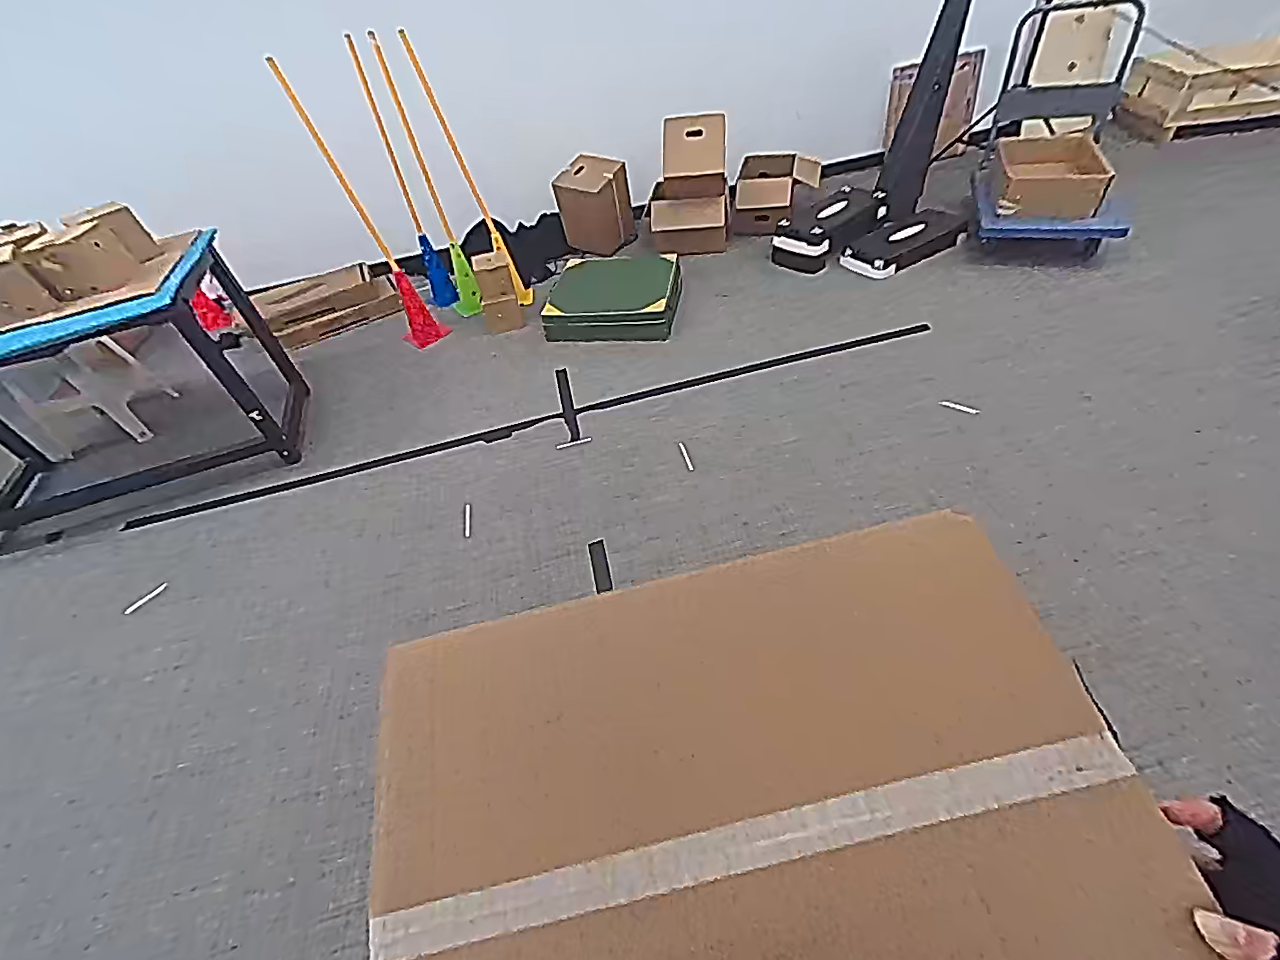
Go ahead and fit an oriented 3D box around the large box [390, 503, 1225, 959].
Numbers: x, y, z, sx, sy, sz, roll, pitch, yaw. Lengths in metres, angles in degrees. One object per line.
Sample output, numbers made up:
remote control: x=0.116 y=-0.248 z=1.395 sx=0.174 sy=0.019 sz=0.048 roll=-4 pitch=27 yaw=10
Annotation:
large box: x=0.073 y=0.267 z=0.424 sx=0.408 sy=0.320 sz=0.320 roll=-14 pitch=59 yaw=0
